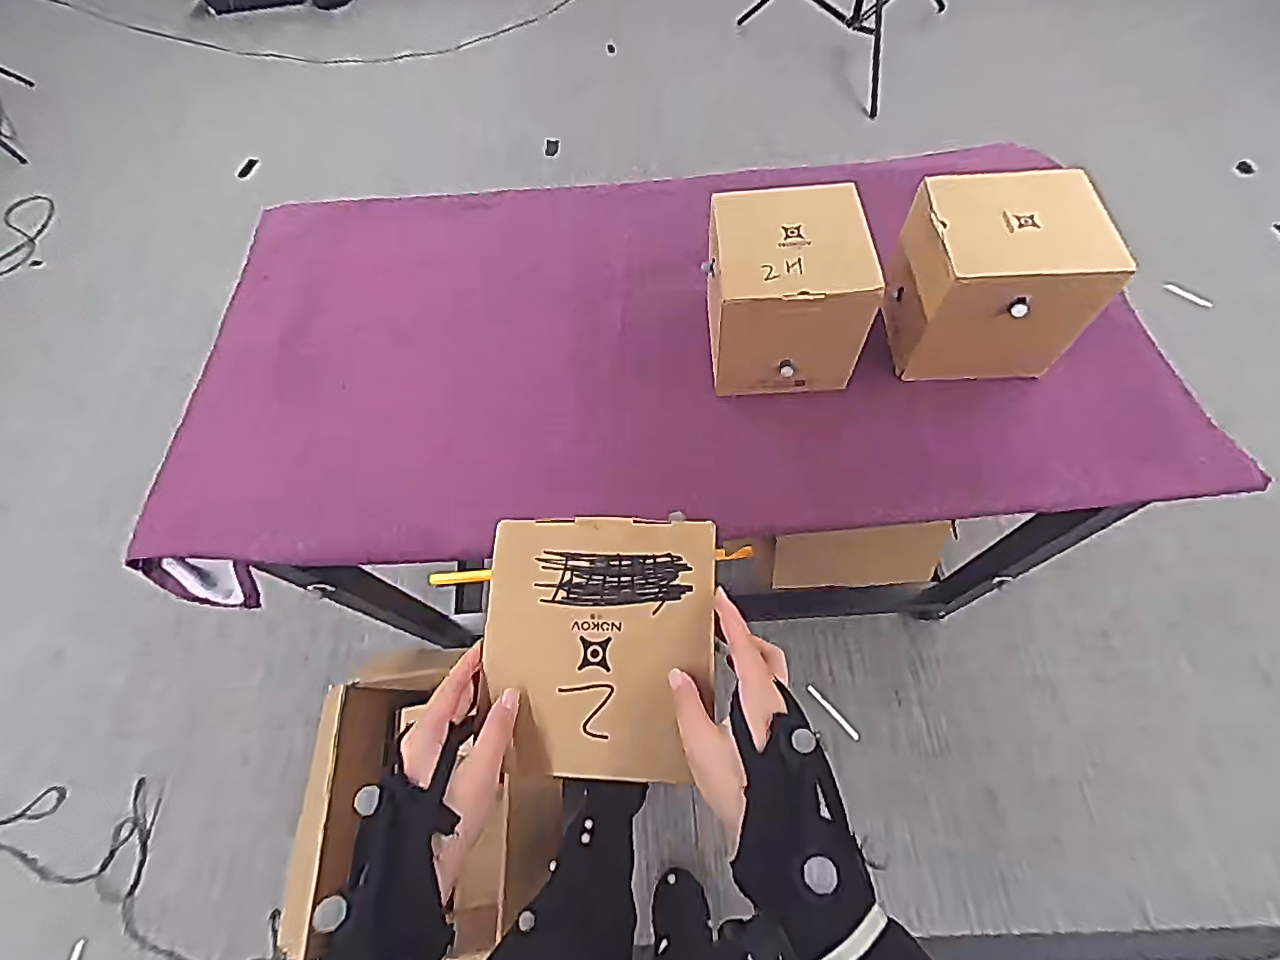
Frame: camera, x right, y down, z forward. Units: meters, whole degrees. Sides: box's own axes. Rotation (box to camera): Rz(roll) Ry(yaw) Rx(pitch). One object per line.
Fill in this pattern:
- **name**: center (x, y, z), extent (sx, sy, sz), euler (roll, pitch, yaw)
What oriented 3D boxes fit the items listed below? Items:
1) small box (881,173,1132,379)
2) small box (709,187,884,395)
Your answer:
- **small box**: center (0.415, -0.236, 0.652), extent (0.179, 0.176, 0.168), euler (-1, 62, 5)
- **small box**: center (0.174, -0.225, 0.665), extent (0.168, 0.176, 0.179), euler (-3, 63, 4)
